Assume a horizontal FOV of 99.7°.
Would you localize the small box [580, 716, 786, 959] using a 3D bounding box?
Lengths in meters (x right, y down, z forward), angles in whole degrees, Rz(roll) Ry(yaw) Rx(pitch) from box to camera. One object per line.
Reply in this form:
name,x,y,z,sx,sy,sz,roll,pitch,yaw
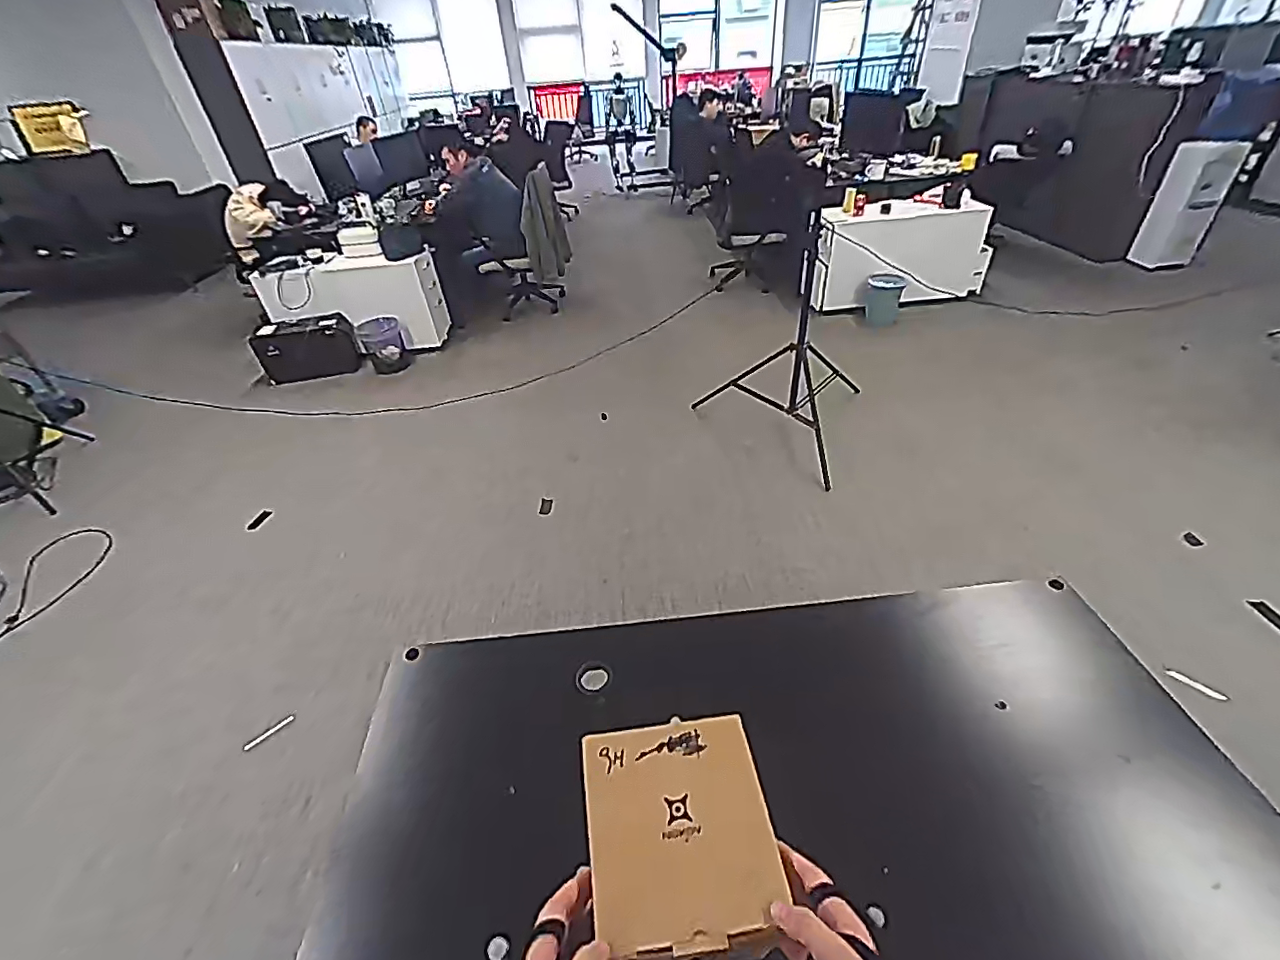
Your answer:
small box,0.031,0.372,0.554,0.168,0.176,0.179,-5,43,-7
